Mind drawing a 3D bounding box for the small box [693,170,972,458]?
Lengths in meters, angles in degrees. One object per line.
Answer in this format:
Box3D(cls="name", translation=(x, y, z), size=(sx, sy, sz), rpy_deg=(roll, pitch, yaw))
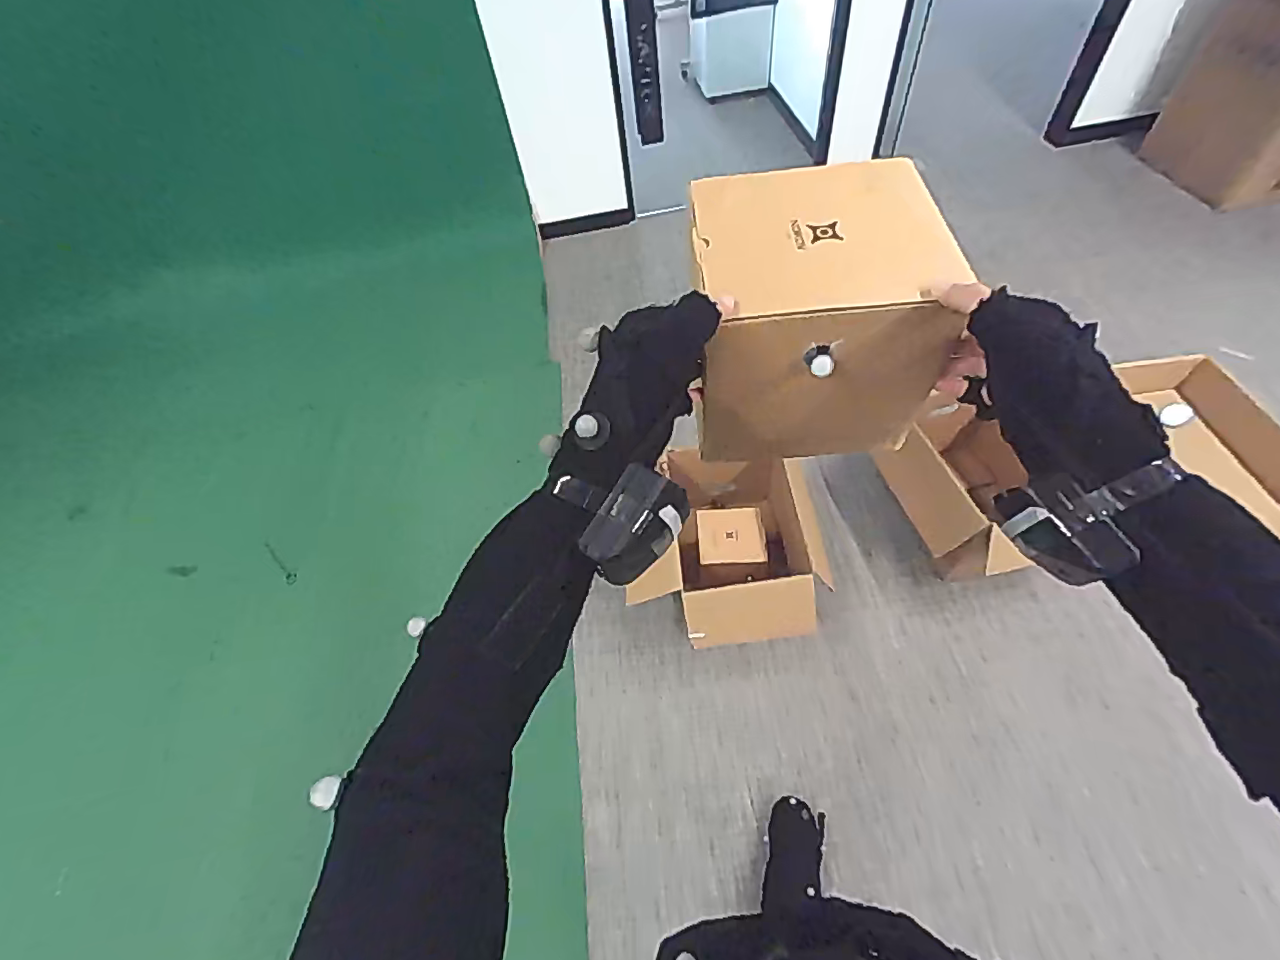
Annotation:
Box3D(cls="small box", translation=(0.139, -0.134, 0.470), size=(0.179, 0.176, 0.168), rpy_deg=(-4, 57, 4))
